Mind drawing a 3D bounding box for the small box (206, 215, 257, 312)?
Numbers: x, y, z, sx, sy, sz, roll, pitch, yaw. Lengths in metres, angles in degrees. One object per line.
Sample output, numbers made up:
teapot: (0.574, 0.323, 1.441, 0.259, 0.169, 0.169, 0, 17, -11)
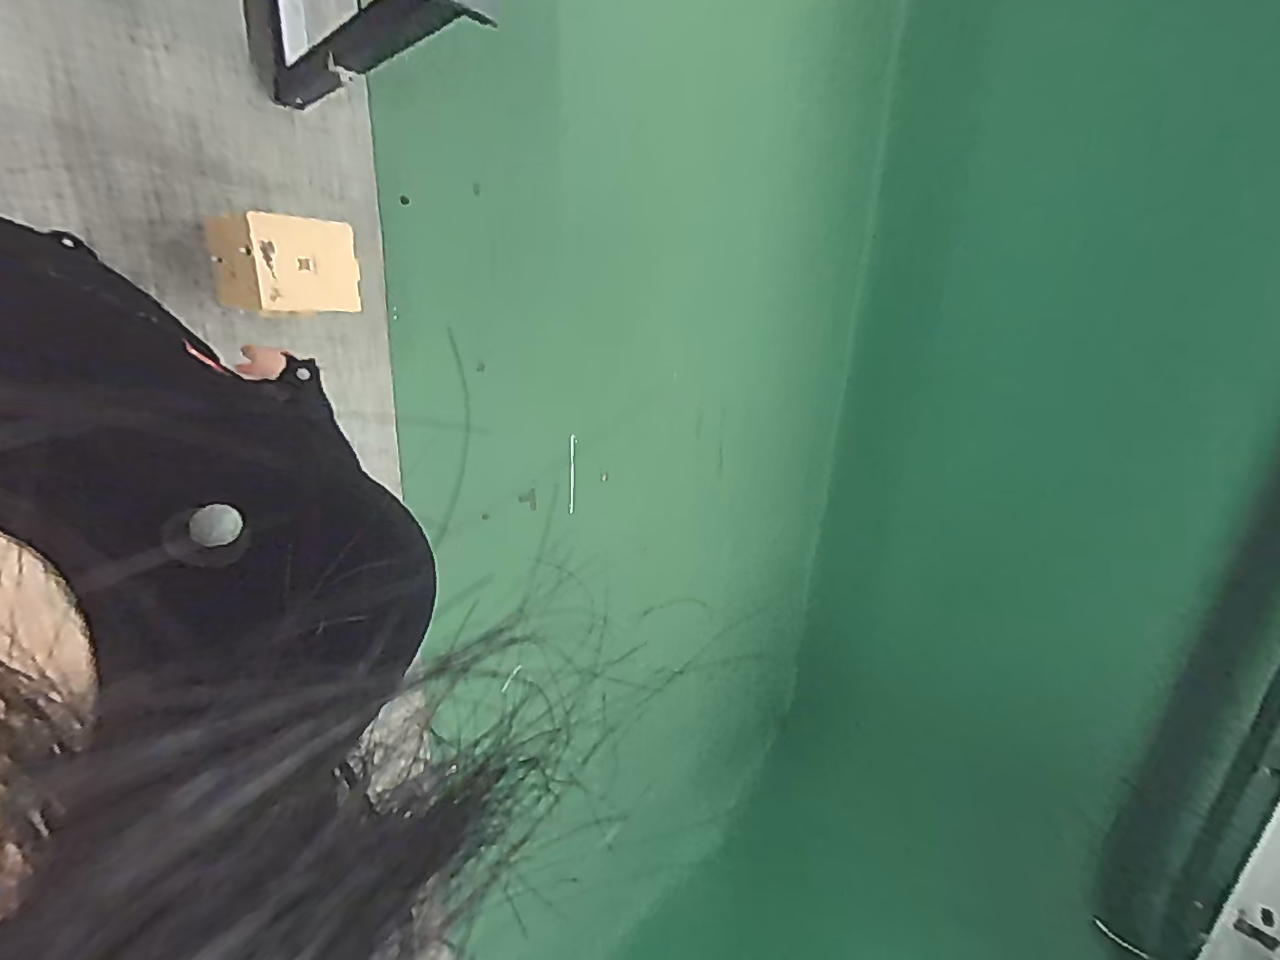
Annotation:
small box: (-0.796, -0.455, 1.156, 0.168, 0.176, 0.179, -18, 116, -45)

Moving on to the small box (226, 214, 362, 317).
small box: (-0.672, -0.414, 1.055, 0.179, 0.176, 0.168, -15, 116, -46)
